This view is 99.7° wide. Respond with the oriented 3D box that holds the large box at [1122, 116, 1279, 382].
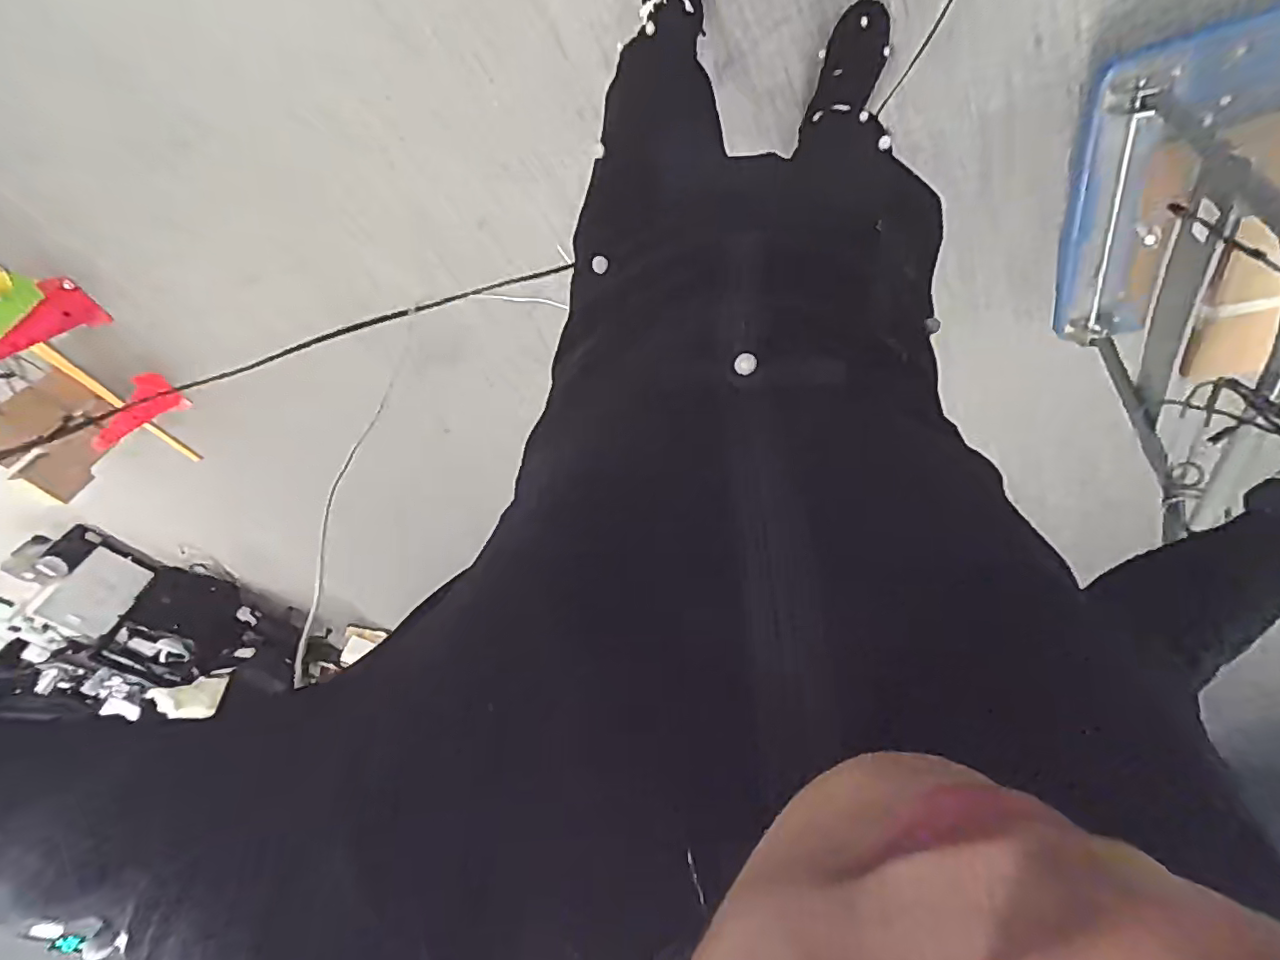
[{"bbox_3d":[1.136,-0.414,0.906,0.408,0.320,0.320,-8,136,24],"label":"large box"}]
